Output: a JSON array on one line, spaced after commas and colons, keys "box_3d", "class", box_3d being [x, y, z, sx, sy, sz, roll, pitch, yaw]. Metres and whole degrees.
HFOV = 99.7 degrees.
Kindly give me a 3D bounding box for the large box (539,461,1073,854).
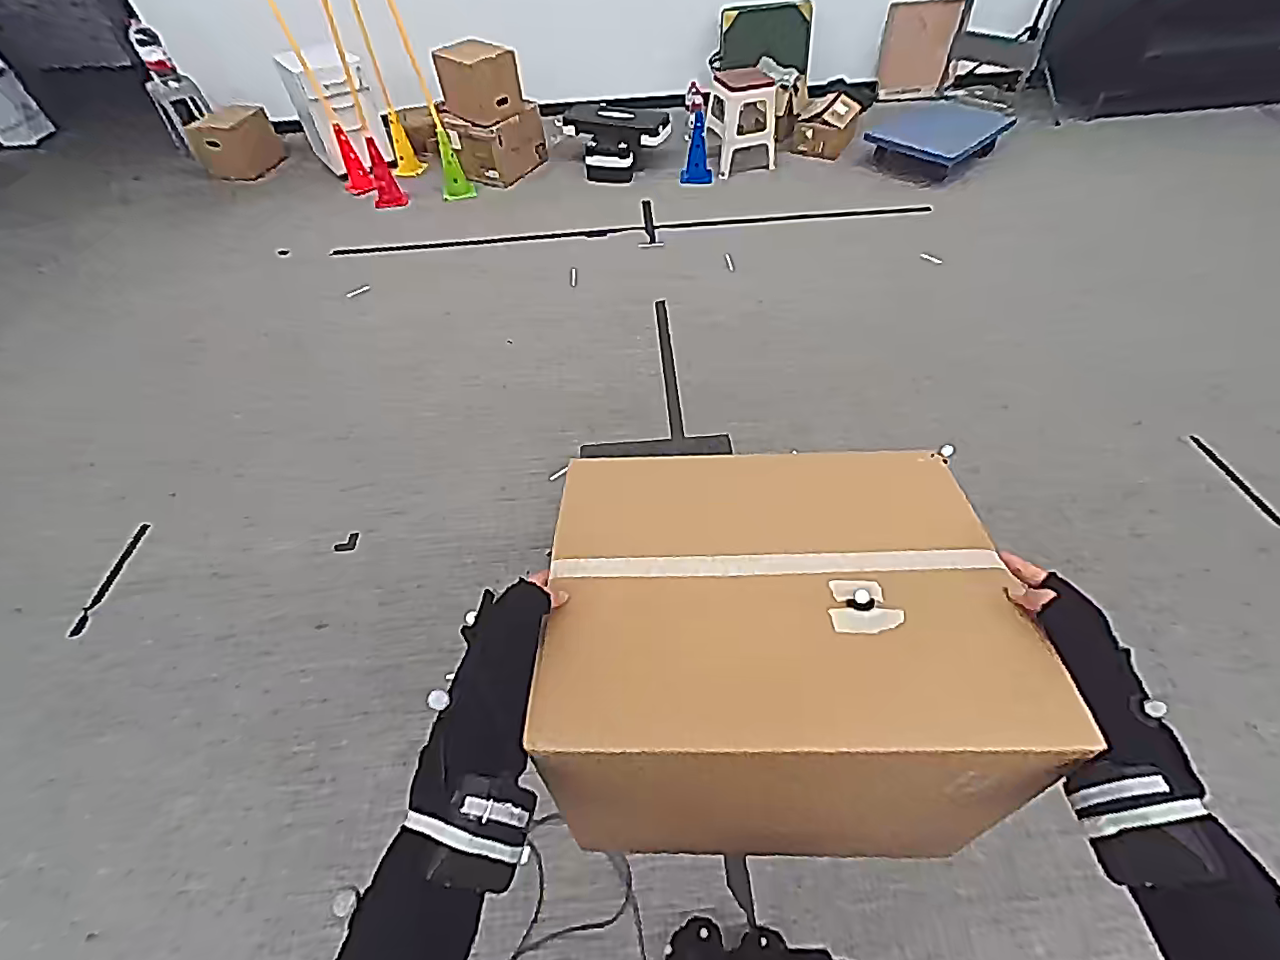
[{"box_3d": [0.127, 0.198, 0.607, 0.408, 0.320, 0.320, -2, 44, 3], "class": "large box"}]
